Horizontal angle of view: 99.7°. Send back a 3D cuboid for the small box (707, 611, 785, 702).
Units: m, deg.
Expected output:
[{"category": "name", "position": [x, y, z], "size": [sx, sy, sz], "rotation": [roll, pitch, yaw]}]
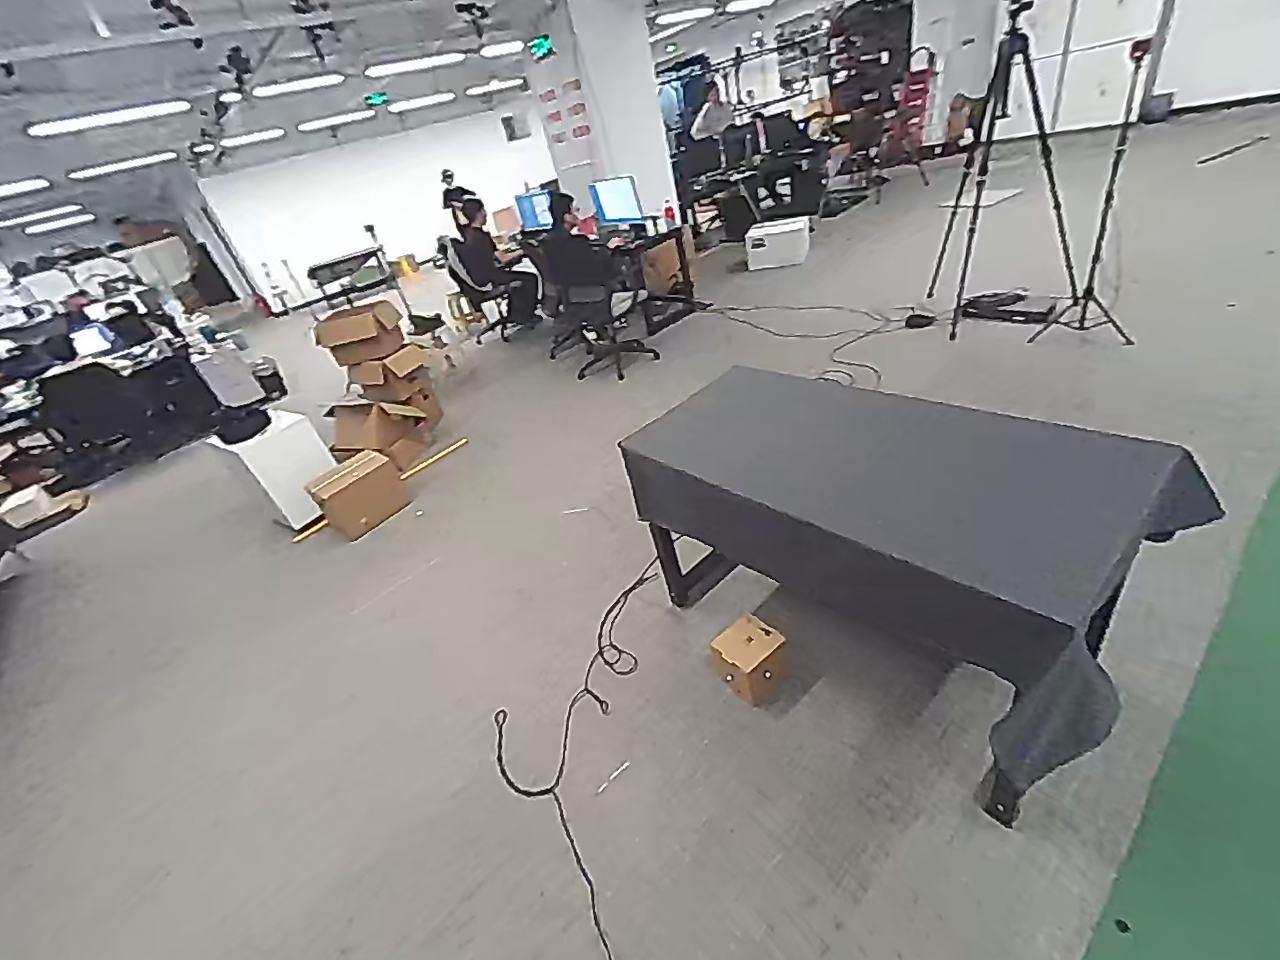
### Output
[{"category": "small box", "position": [0.339, 0.558, 1.706], "size": [0.179, 0.176, 0.168], "rotation": [-31, 35, -23]}]
